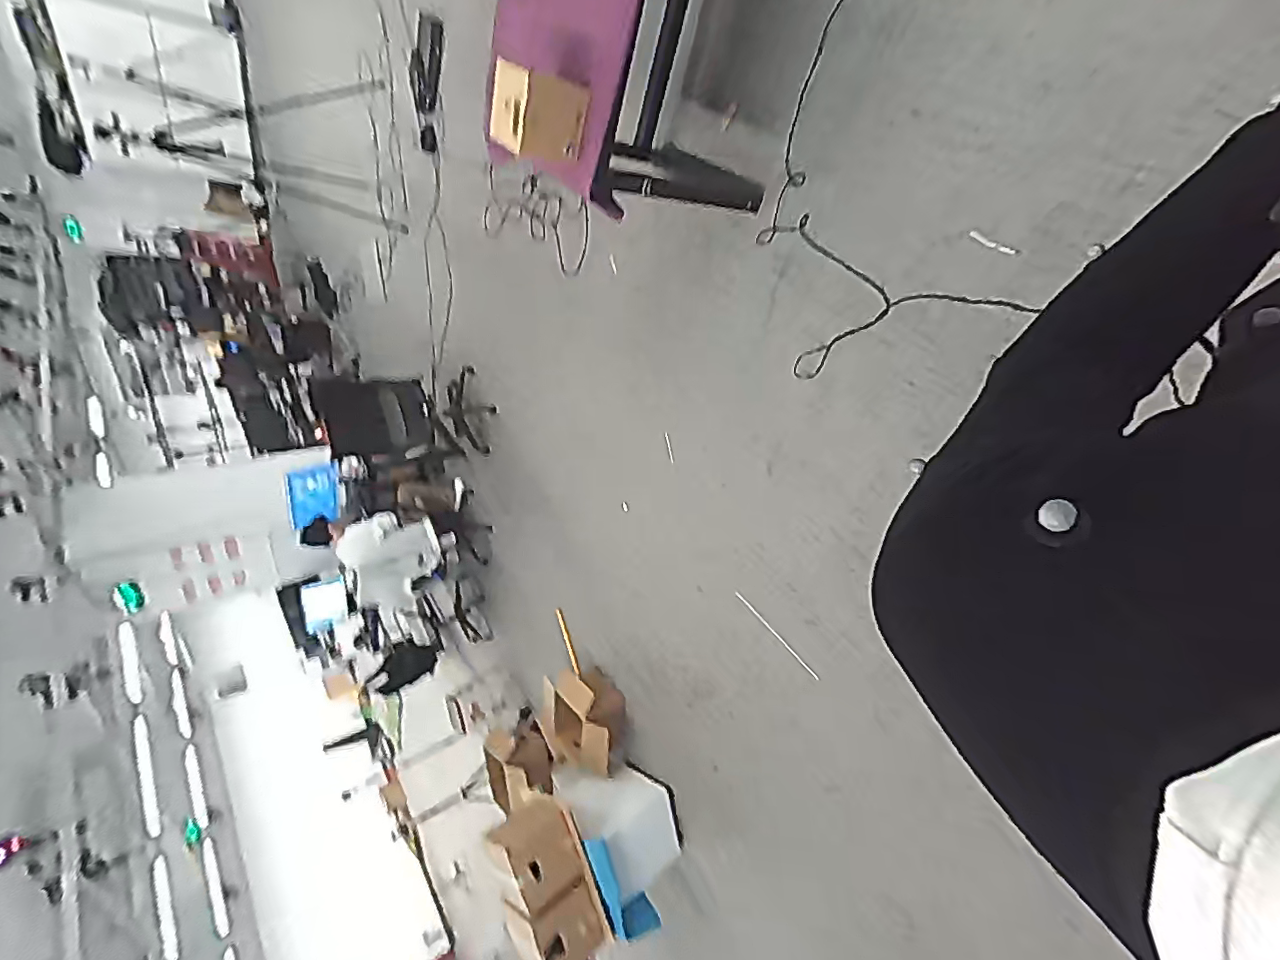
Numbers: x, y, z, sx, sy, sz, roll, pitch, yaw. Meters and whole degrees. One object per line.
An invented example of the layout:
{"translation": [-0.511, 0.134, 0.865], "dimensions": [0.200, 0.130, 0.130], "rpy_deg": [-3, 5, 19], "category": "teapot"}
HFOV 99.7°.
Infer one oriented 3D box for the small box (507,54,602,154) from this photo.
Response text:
{"translation": [-0.217, -0.952, 1.379], "dimensions": [0.179, 0.176, 0.168], "rpy_deg": [49, 137, 32], "category": "small box"}
